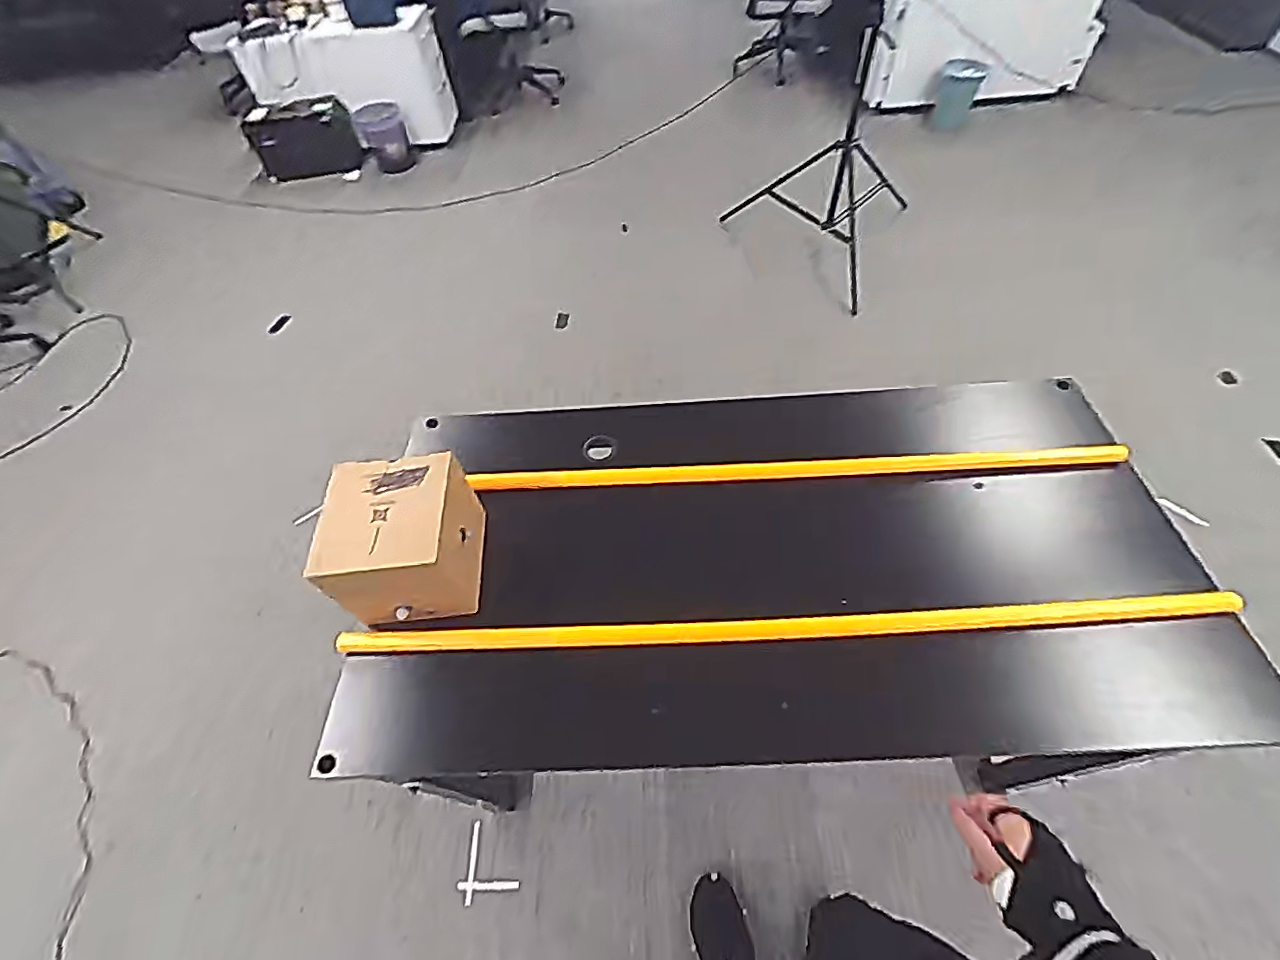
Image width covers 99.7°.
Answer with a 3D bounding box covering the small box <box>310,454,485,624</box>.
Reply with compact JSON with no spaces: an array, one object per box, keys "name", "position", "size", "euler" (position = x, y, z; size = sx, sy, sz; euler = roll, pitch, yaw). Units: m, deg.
[{"name":"small box","position":[-0.329,0.087,0.778],"size":[0.168,0.176,0.179],"euler":[-7,55,0]}]
